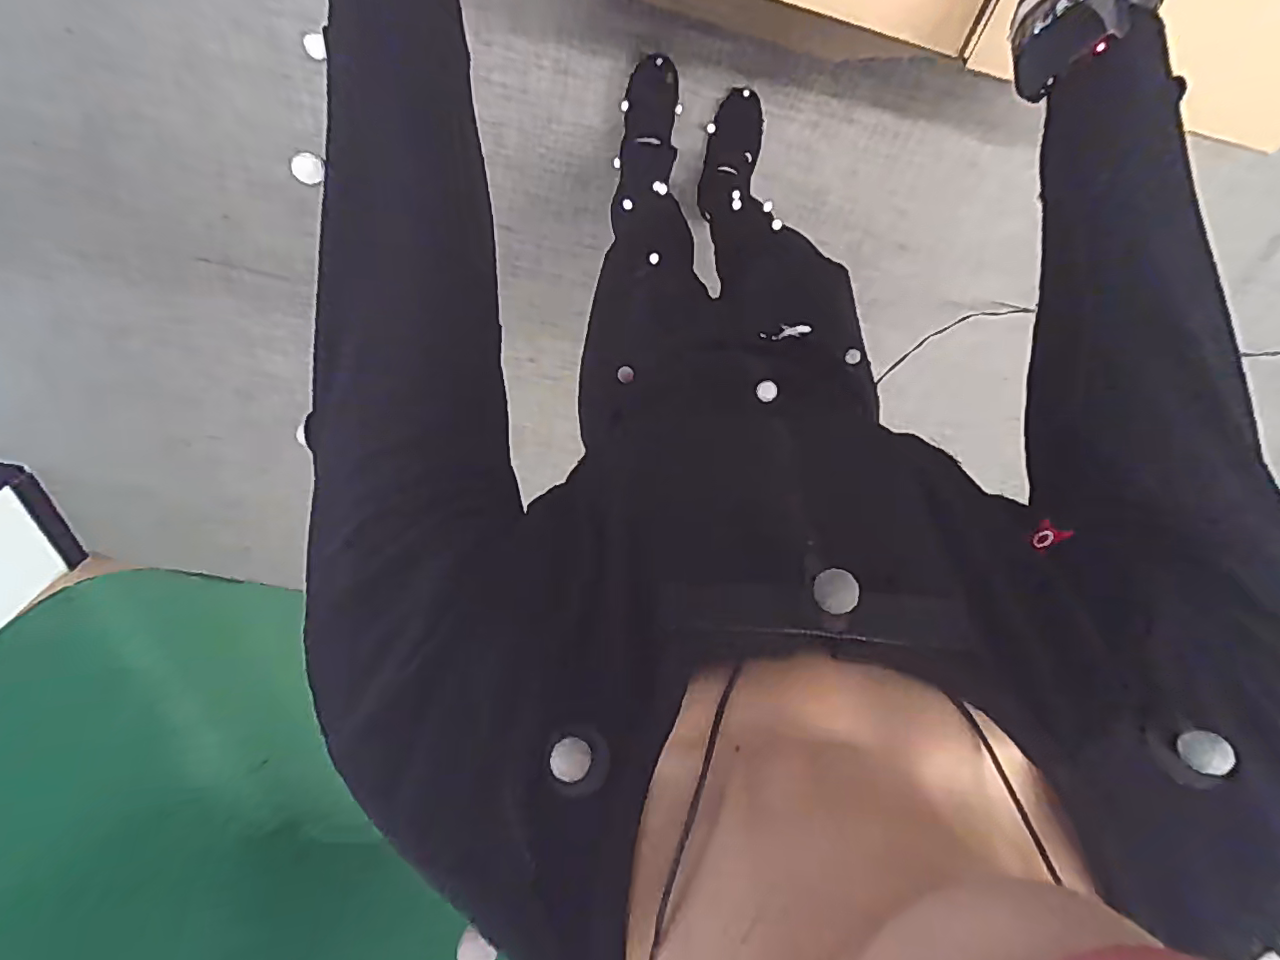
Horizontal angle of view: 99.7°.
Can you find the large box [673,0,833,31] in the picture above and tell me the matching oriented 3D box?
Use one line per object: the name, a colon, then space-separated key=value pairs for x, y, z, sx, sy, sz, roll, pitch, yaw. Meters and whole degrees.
large box: x=0.129 y=-0.930 z=0.828 sx=0.408 sy=0.320 sz=0.320 roll=13 pitch=128 yaw=-4
